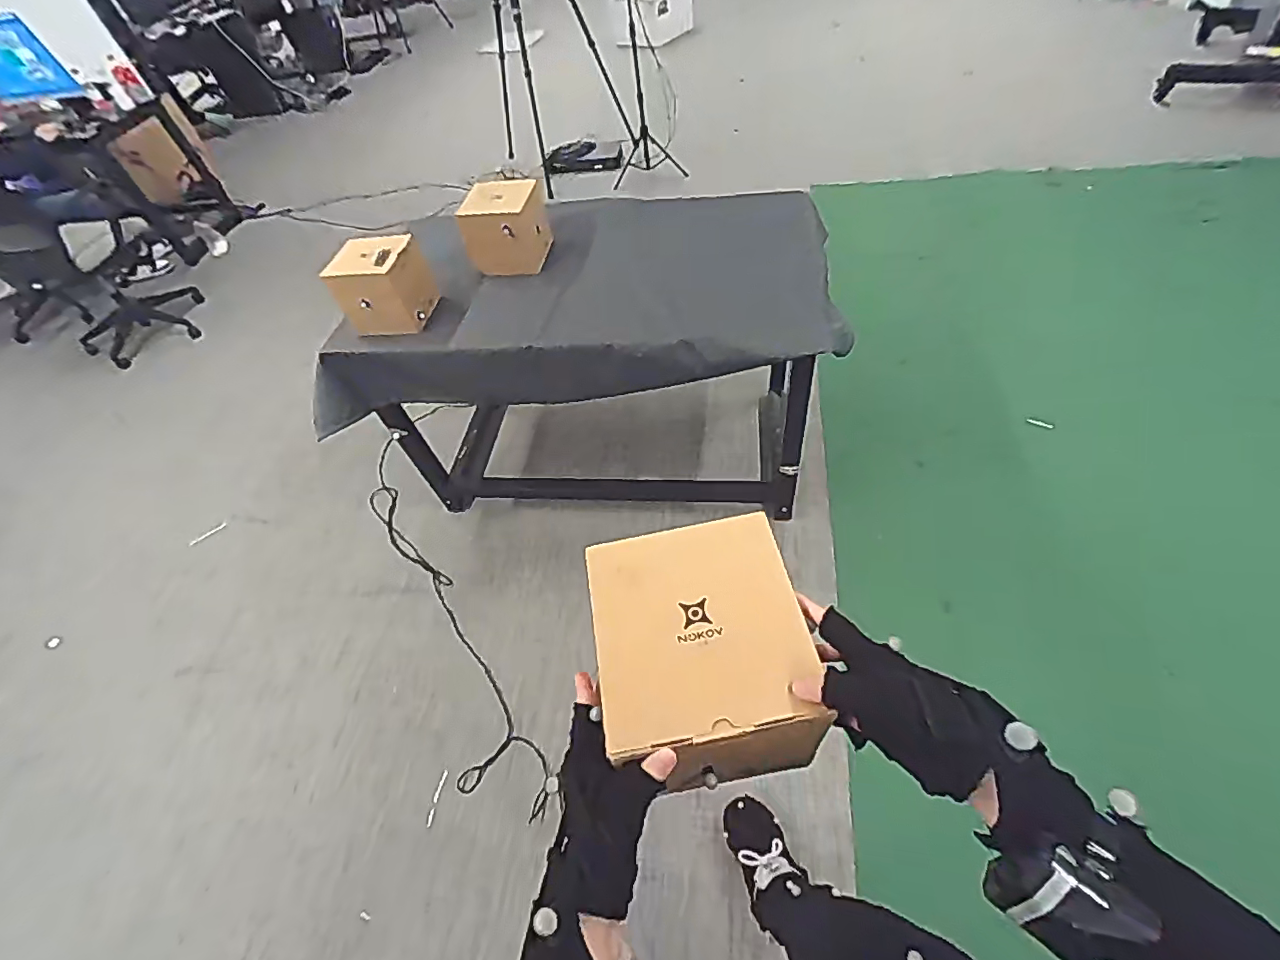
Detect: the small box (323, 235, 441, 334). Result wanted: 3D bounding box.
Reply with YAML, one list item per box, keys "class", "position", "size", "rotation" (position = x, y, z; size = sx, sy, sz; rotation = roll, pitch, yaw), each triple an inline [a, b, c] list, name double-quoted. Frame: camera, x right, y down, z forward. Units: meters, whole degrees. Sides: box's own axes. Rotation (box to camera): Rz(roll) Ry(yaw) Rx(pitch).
- class: "small box"
  position: [-0.618, -0.474, 1.324]
  size: [0.179, 0.176, 0.168]
  rotation: [1, 52, 11]

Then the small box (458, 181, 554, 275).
- class: "small box"
  position: [-0.340, -0.656, 1.418]
  size: [0.179, 0.176, 0.168]
  rotation: [3, 54, 11]
